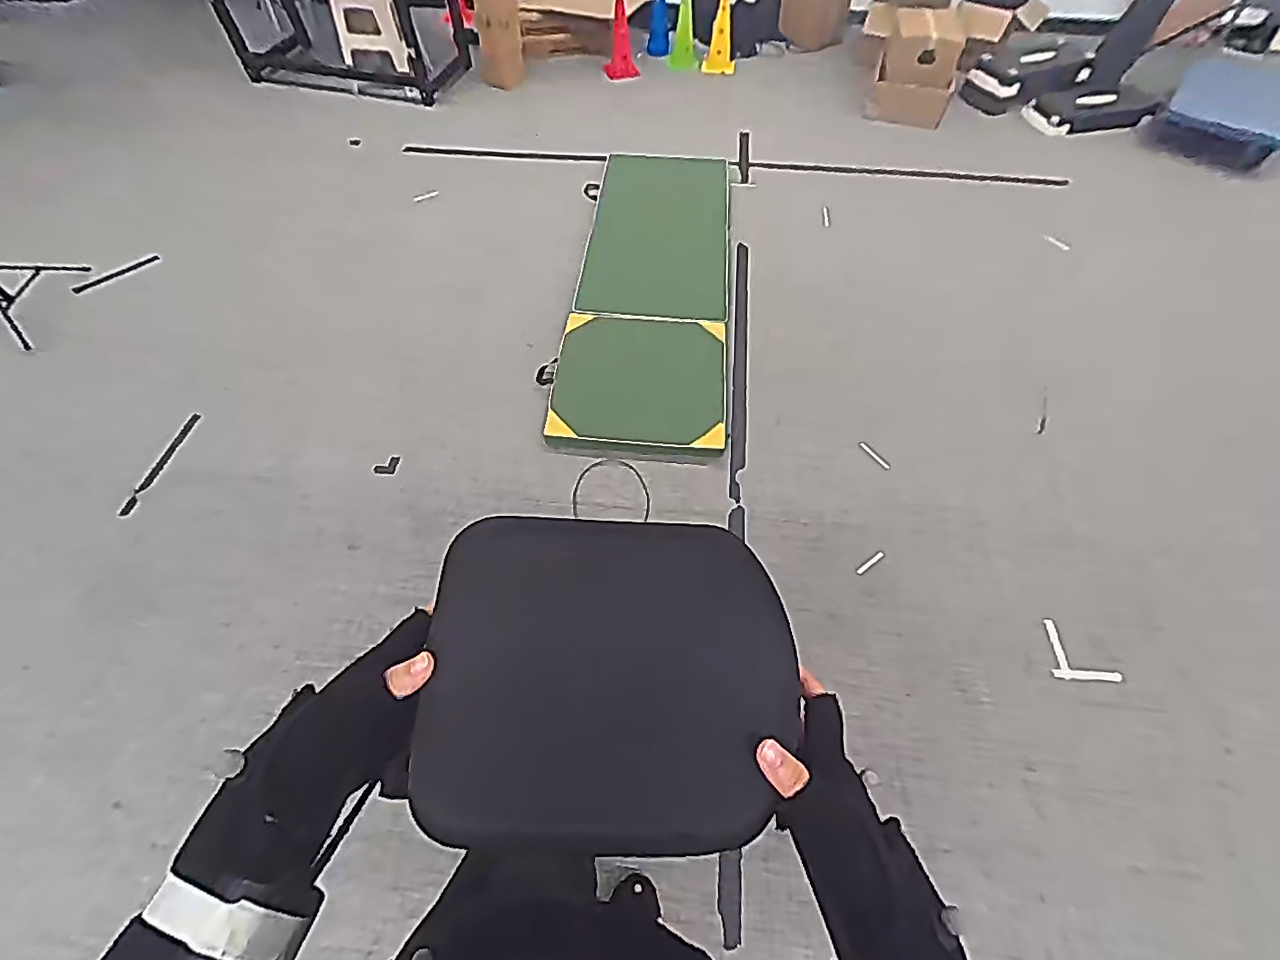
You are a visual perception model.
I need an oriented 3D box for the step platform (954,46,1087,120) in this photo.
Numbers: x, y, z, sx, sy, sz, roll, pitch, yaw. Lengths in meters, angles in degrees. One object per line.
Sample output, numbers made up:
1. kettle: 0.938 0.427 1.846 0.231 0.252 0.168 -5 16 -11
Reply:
1. step platform: 2.185 -2.283 3.102 0.684 0.204 0.286 -20 60 -12
